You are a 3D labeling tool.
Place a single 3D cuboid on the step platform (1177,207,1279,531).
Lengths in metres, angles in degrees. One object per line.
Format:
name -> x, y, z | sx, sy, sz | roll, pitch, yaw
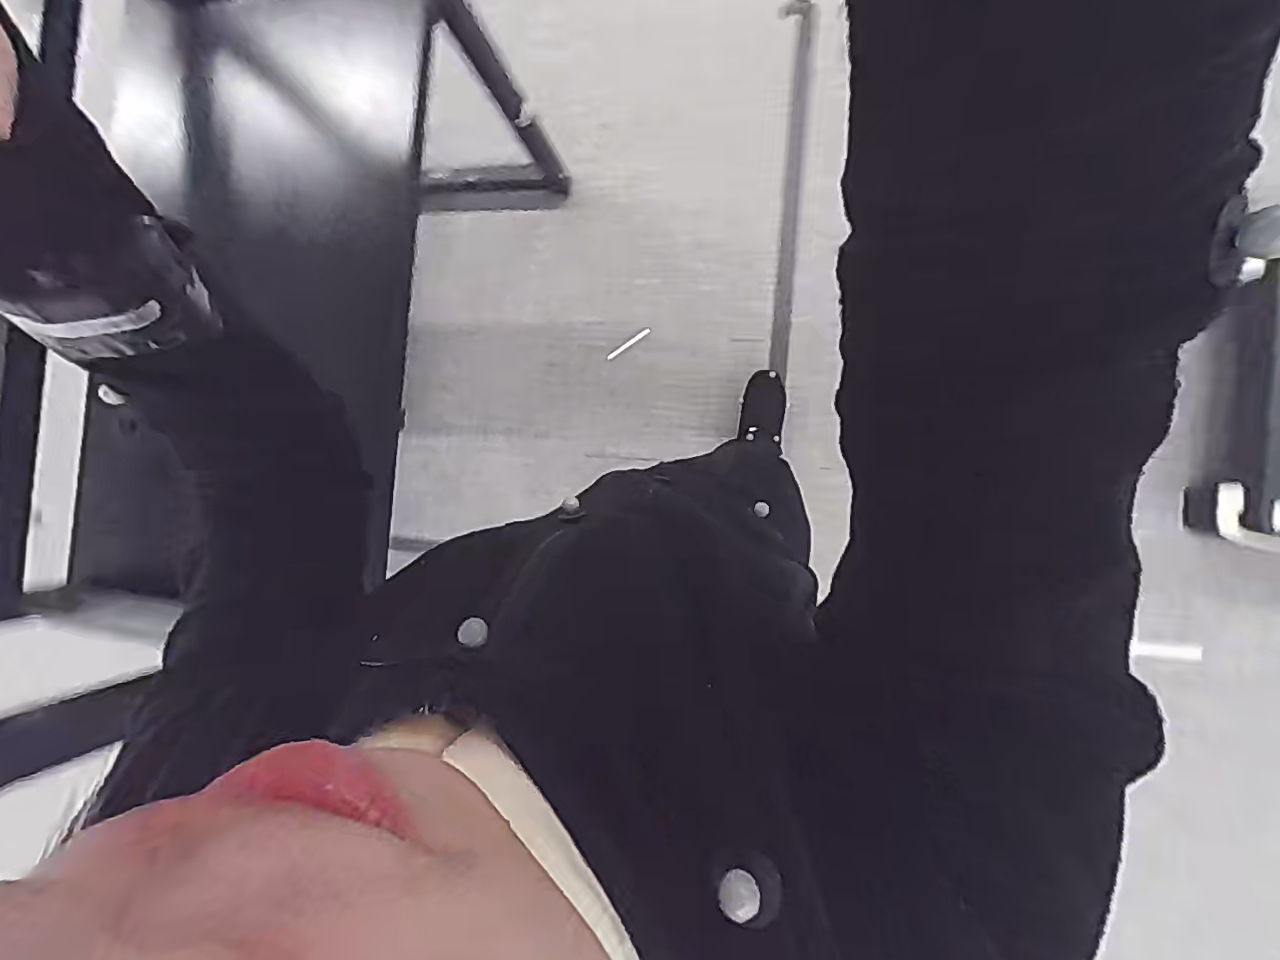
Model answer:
step platform -> 1.409, -0.234, 1.132 | 0.286, 0.204, 0.684 | 9, 89, 12
